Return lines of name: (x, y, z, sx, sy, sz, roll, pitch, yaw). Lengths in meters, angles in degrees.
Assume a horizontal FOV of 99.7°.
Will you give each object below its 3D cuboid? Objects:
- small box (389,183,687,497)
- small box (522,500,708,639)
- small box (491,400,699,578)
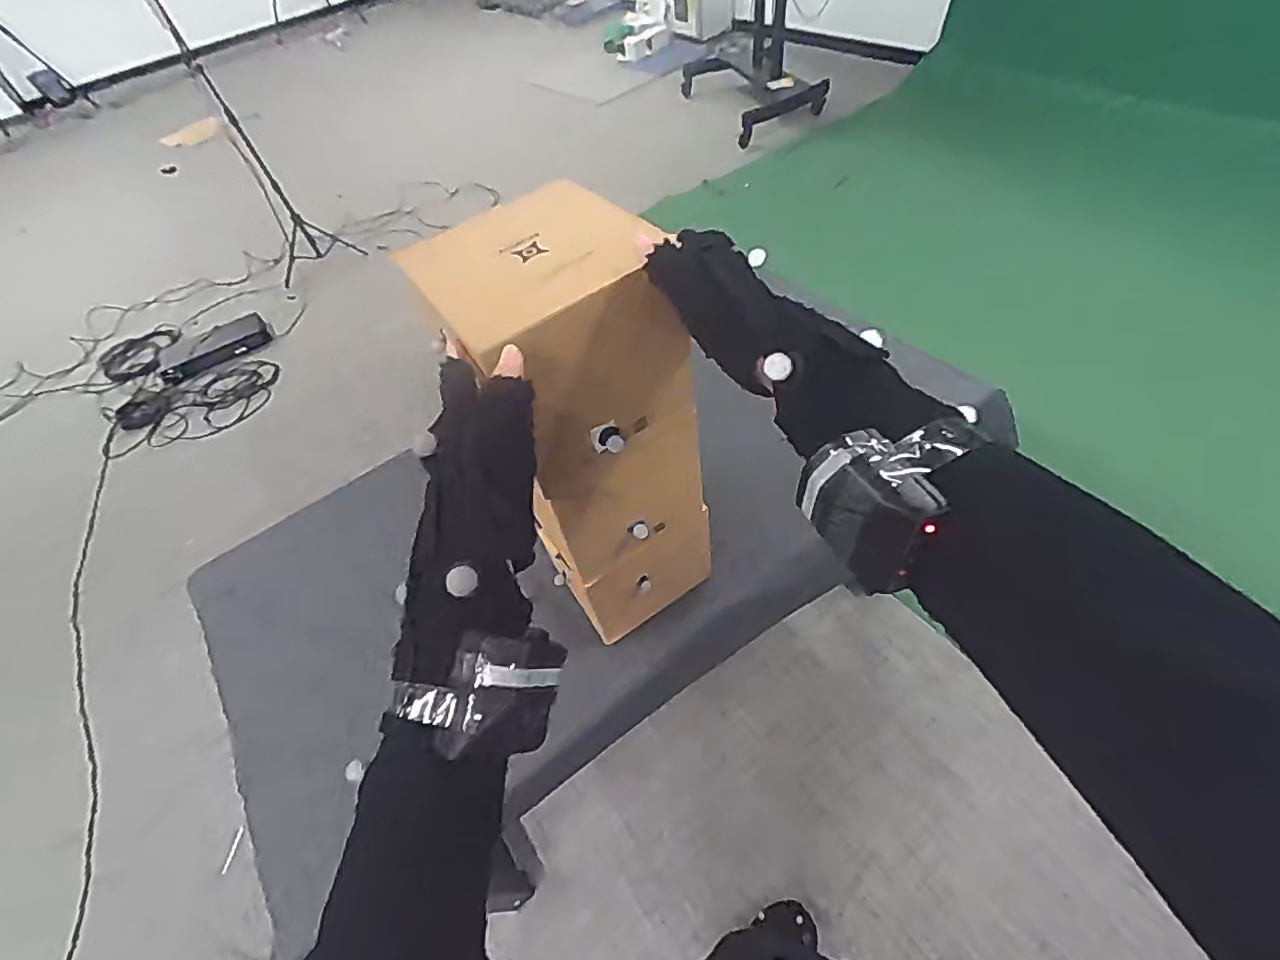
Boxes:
small box: (-0.077, -0.118, 0.468, 0.168, 0.176, 0.179, -34, 55, -14)
small box: (-0.024, 0.080, 0.721, 0.179, 0.176, 0.168, -32, 54, -14)
small box: (-0.052, -0.026, 0.599, 0.168, 0.176, 0.179, -34, 52, -16)
